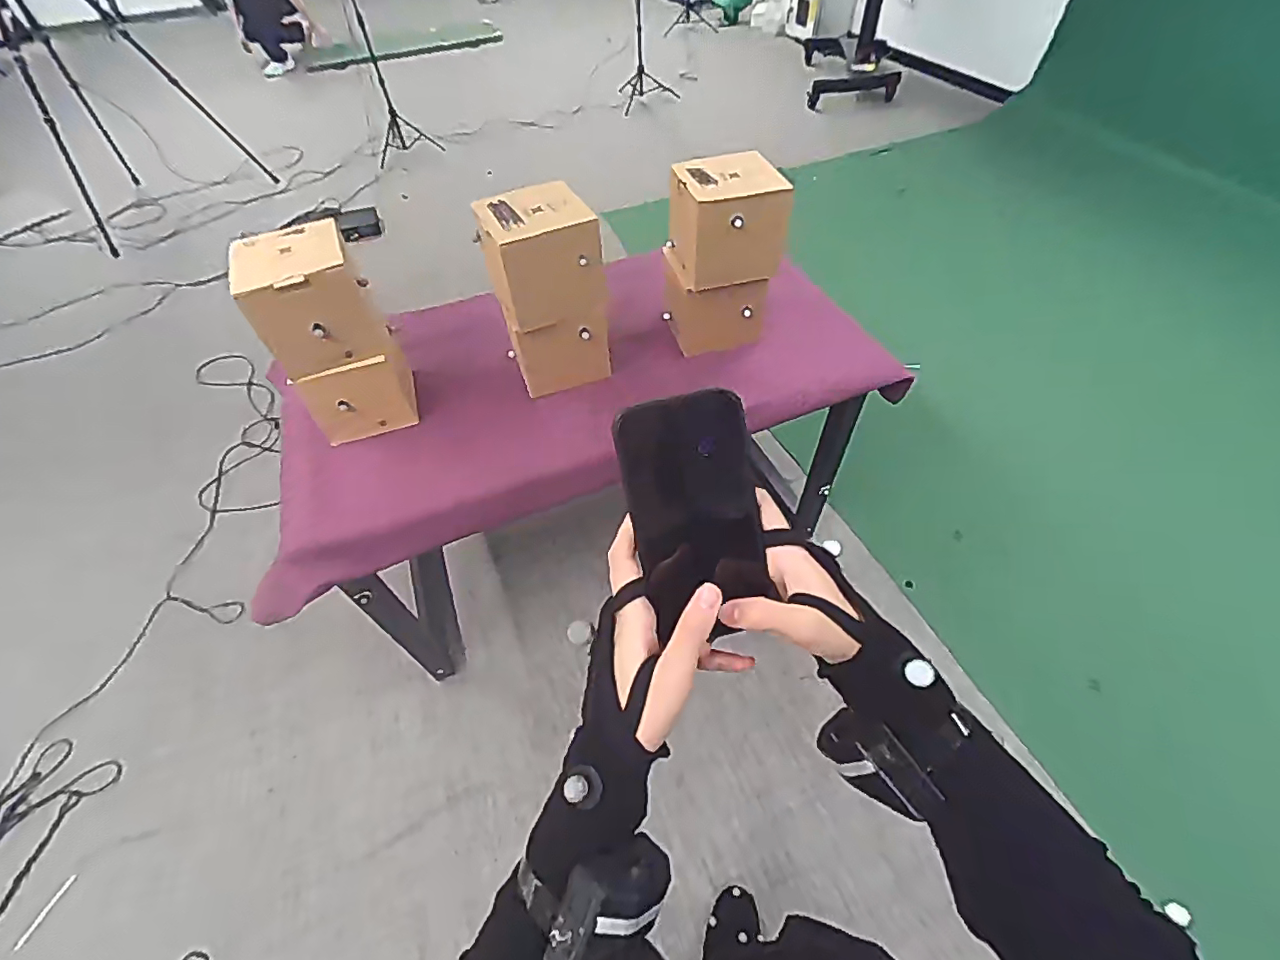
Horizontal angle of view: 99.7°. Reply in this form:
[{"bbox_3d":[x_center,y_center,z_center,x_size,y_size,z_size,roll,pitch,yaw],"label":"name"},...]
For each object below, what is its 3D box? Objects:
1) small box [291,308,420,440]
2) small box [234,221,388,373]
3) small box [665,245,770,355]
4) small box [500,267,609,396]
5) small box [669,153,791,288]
[{"bbox_3d":[-0.540,-0.196,1.045,0.168,0.176,0.179,-18,53,-10],"label":"small box"},{"bbox_3d":[-0.551,-0.303,0.920,0.168,0.176,0.179,-21,55,-14],"label":"small box"},{"bbox_3d":[0.155,-0.393,1.155,0.179,0.176,0.168,-13,52,-6],"label":"small box"},{"bbox_3d":[-0.168,-0.301,1.101,0.179,0.176,0.168,-18,53,-10],"label":"small box"},{"bbox_3d":[0.161,-0.485,1.019,0.179,0.176,0.168,-13,52,-7],"label":"small box"}]
